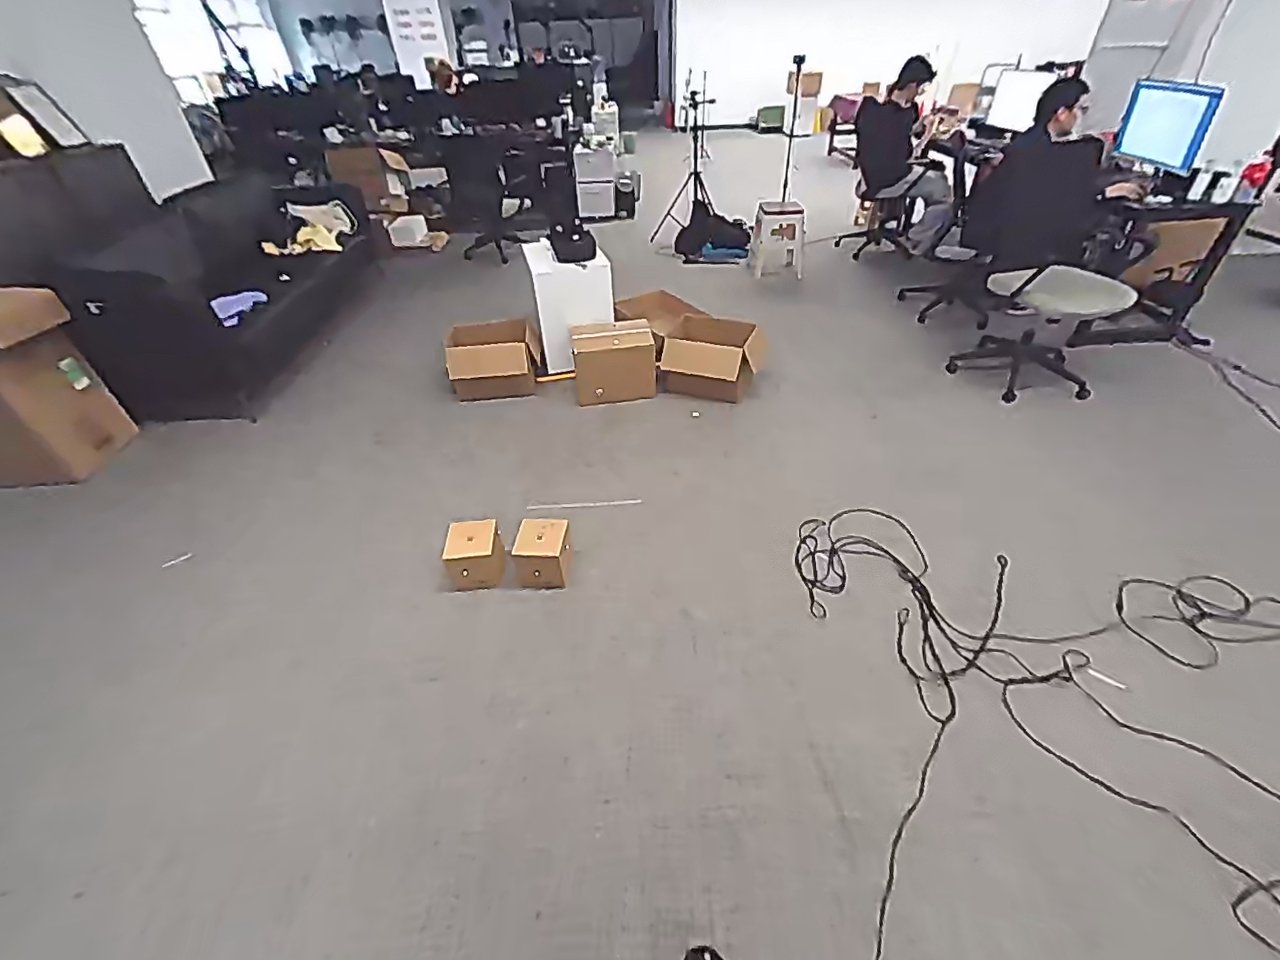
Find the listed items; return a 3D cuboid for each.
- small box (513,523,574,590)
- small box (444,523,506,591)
[{"bbox_3d":[-0.334,0.271,1.909,0.168,0.176,0.179,1,39,5],"label":"small box"},{"bbox_3d":[-0.579,0.278,1.920,0.168,0.176,0.179,-6,39,-3],"label":"small box"}]
